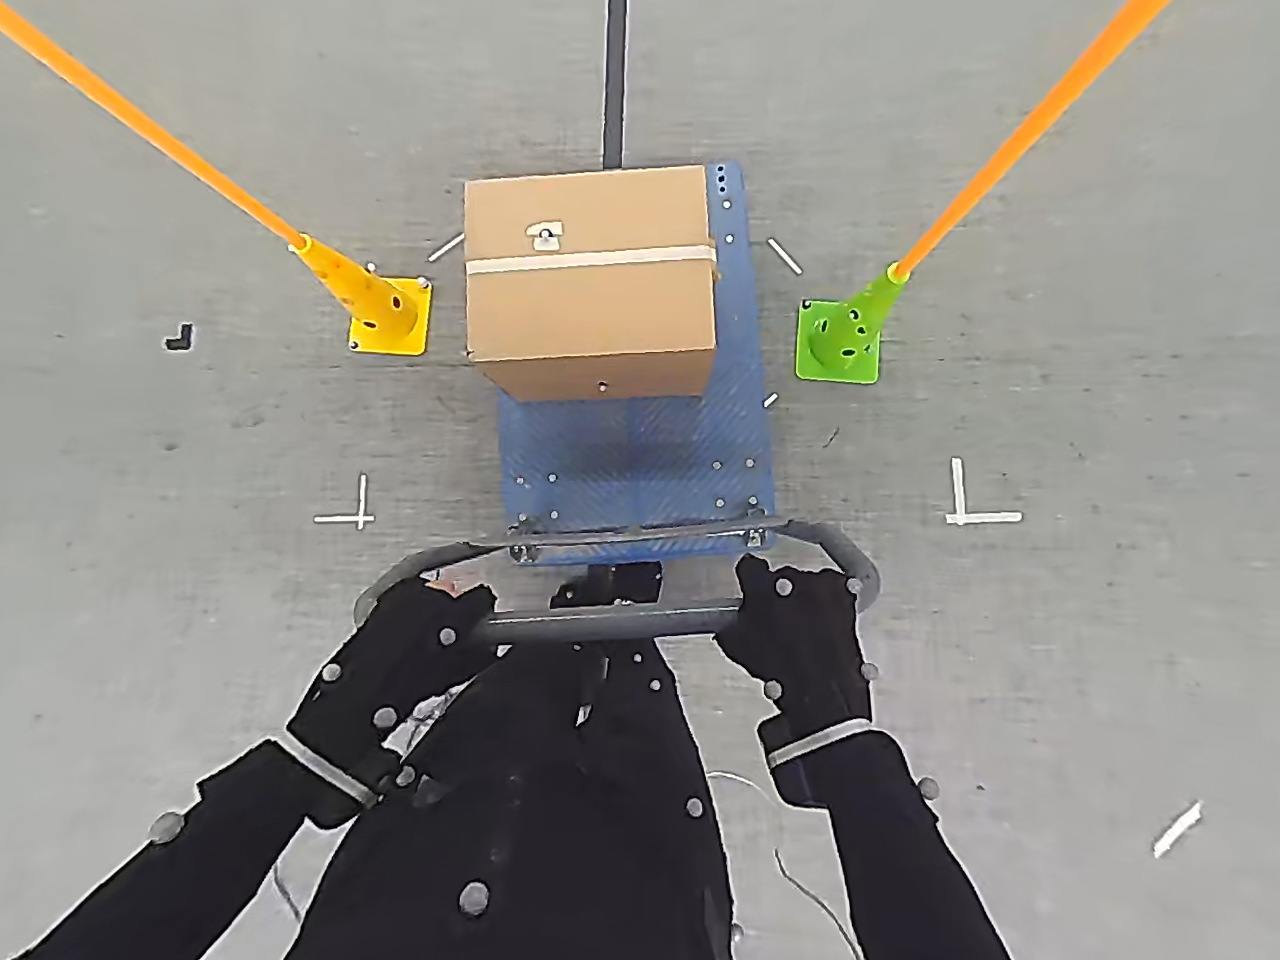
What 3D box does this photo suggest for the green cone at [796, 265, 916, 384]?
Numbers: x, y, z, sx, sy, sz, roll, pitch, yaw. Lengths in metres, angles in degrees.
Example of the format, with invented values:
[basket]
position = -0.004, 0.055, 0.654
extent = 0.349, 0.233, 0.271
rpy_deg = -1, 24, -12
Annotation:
[green cone]
position = 0.485, -0.354, 1.164
extent = 0.202, 0.368, 0.200
rpy_deg = 5, 85, 2

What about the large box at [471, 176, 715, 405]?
[large box]
position = -0.073, -0.333, 1.045
extent = 0.408, 0.320, 0.320
rpy_deg = -2, 85, 3
